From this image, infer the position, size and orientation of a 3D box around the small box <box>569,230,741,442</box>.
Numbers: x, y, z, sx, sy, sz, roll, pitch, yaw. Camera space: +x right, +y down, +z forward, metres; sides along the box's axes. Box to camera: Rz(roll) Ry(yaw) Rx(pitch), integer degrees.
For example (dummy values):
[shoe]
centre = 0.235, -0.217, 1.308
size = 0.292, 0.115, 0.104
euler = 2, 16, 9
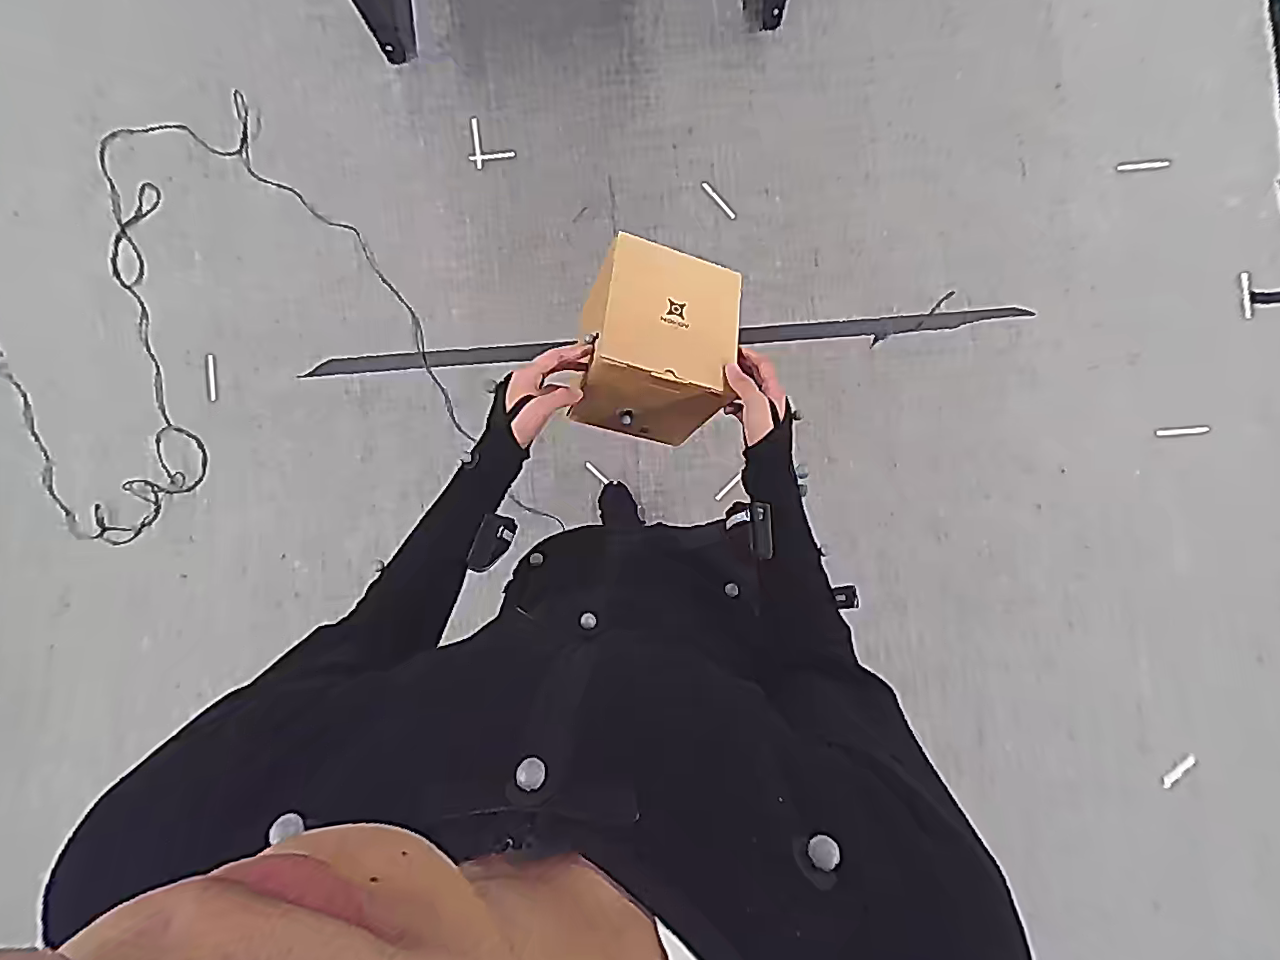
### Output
[small box]
centre = 0.014, -0.171, 0.692
size = 0.168, 0.176, 0.179
euler = 12, 70, -16
